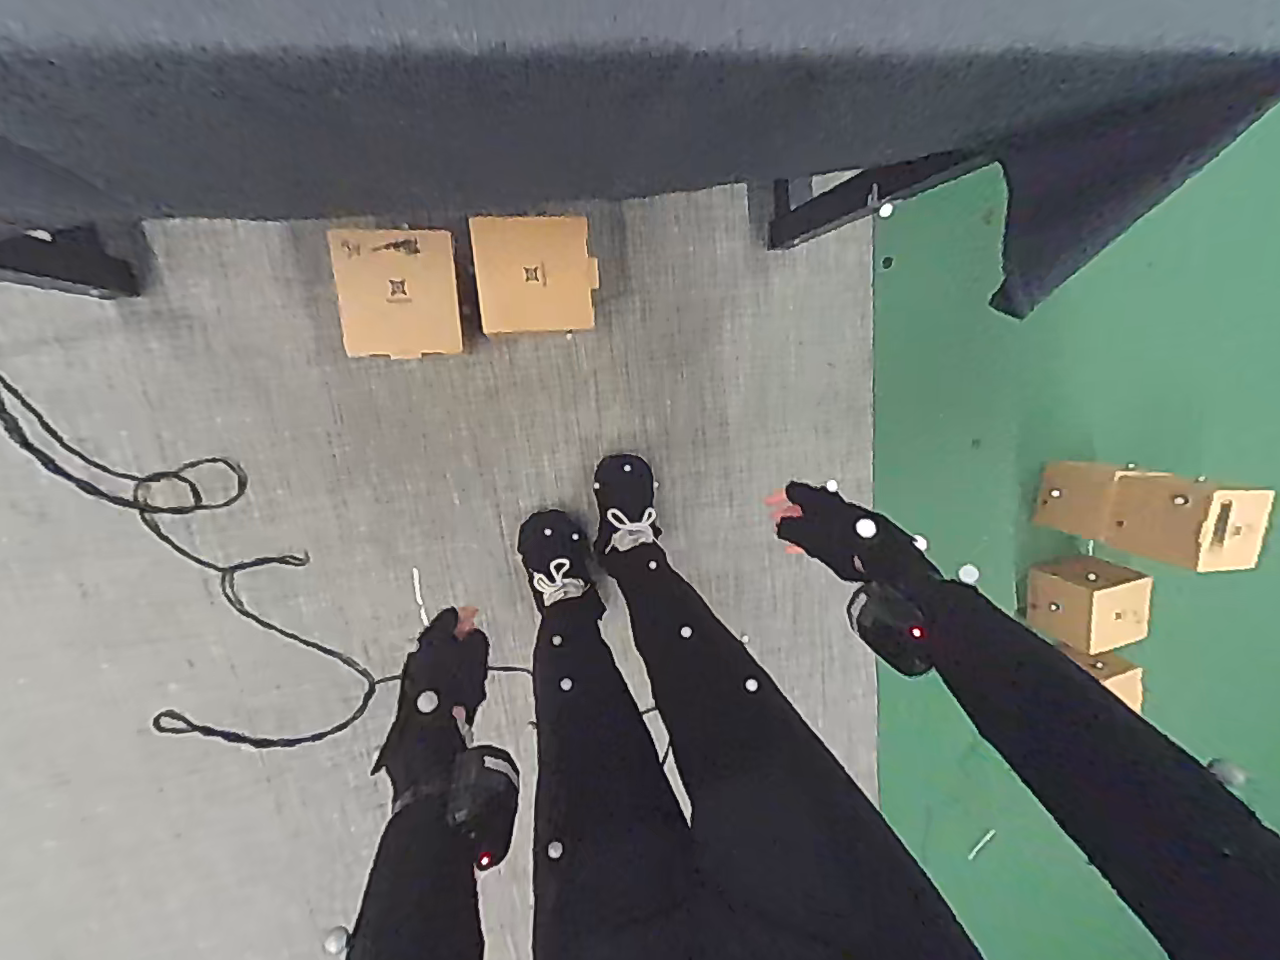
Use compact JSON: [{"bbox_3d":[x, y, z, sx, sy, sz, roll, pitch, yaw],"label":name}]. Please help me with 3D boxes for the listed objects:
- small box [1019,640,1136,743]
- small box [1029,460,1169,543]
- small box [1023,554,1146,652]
[{"bbox_3d":[1.134,0.538,1.409,0.179,0.176,0.168,-14,104,-11],"label":"small box"},{"bbox_3d":[1.091,0.048,1.296,0.179,0.176,0.168,3,100,-13],"label":"small box"},{"bbox_3d":[1.098,0.300,1.349,0.179,0.176,0.168,-11,105,-13],"label":"small box"}]
